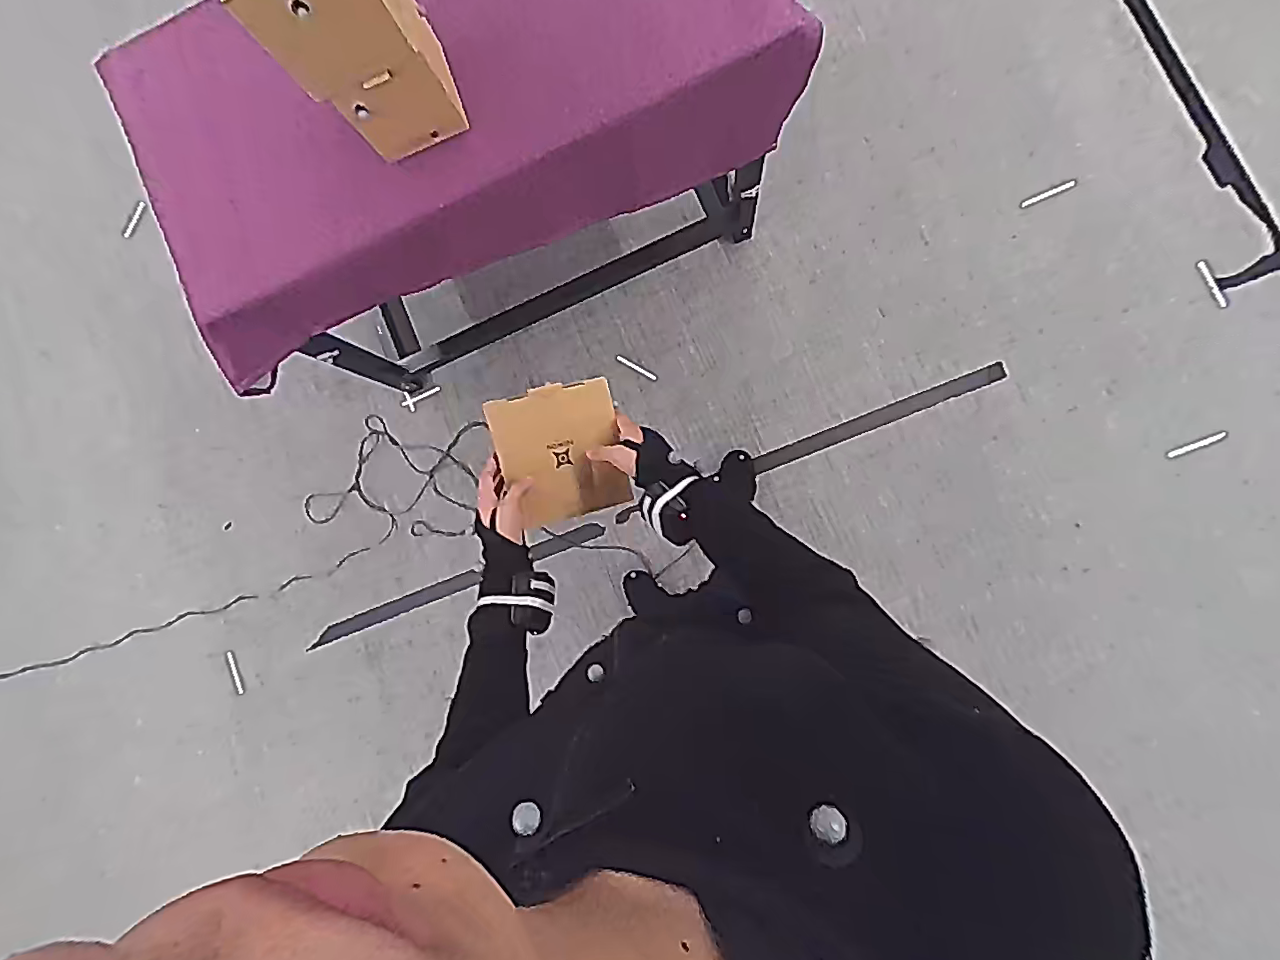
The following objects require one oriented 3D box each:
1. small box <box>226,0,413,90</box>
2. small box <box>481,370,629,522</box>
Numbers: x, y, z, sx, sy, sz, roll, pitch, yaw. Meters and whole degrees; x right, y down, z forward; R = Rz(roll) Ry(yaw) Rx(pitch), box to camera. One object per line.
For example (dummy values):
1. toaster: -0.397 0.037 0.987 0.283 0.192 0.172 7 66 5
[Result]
1. small box: -0.449 -0.688 0.738 0.179 0.176 0.168 -20 85 5
2. small box: -0.126 -0.056 0.794 0.168 0.176 0.179 -15 100 -11
